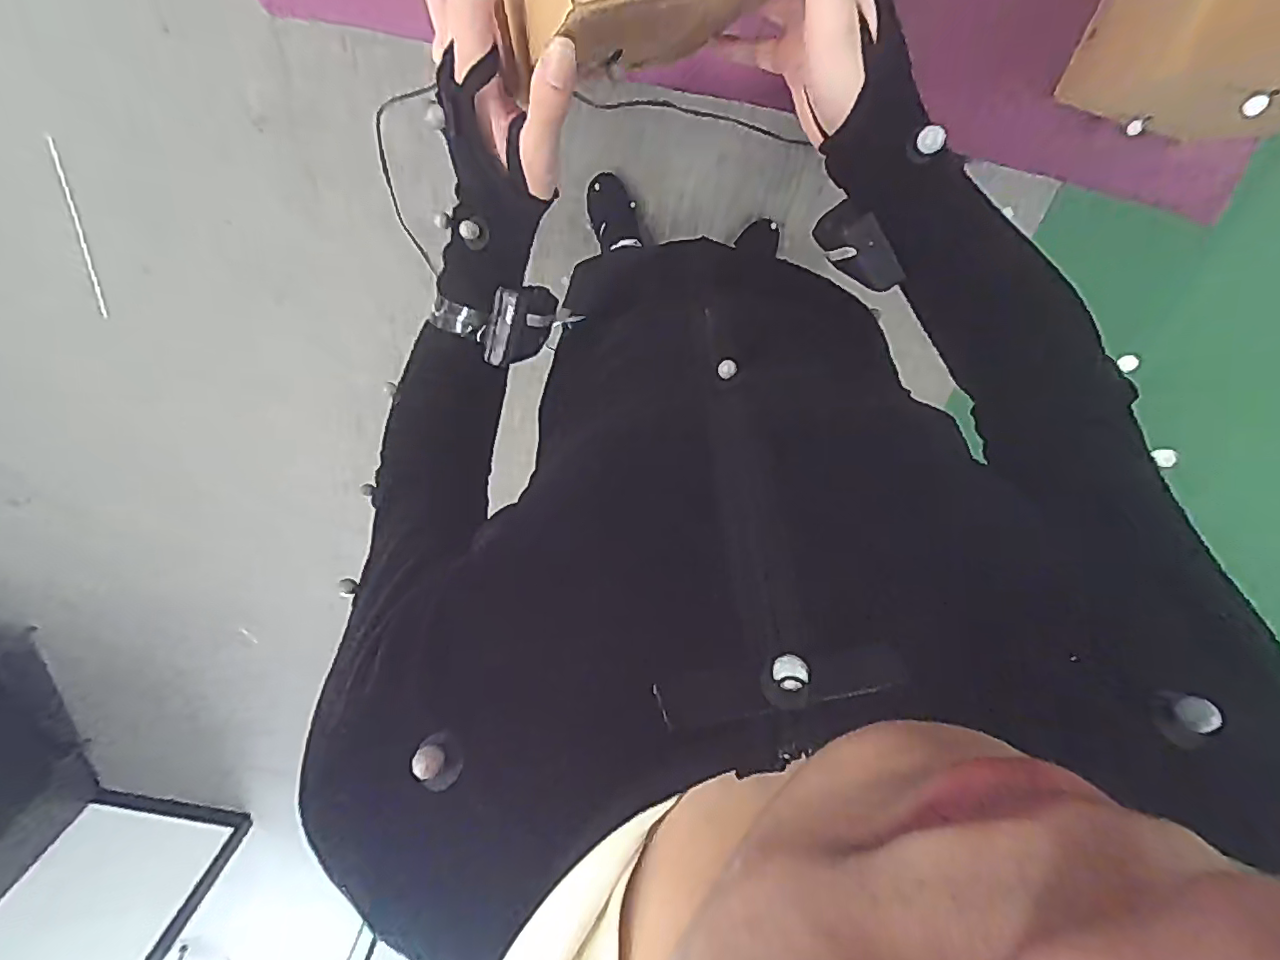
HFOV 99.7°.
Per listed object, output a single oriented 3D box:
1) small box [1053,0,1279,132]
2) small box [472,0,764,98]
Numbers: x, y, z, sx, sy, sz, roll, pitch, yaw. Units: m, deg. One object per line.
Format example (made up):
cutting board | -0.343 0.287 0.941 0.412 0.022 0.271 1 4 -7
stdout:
small box | 0.579 -0.463 0.536 0.179 0.176 0.168 15 118 -3
small box | -0.020 -0.361 0.312 0.168 0.176 0.179 -27 119 -16
